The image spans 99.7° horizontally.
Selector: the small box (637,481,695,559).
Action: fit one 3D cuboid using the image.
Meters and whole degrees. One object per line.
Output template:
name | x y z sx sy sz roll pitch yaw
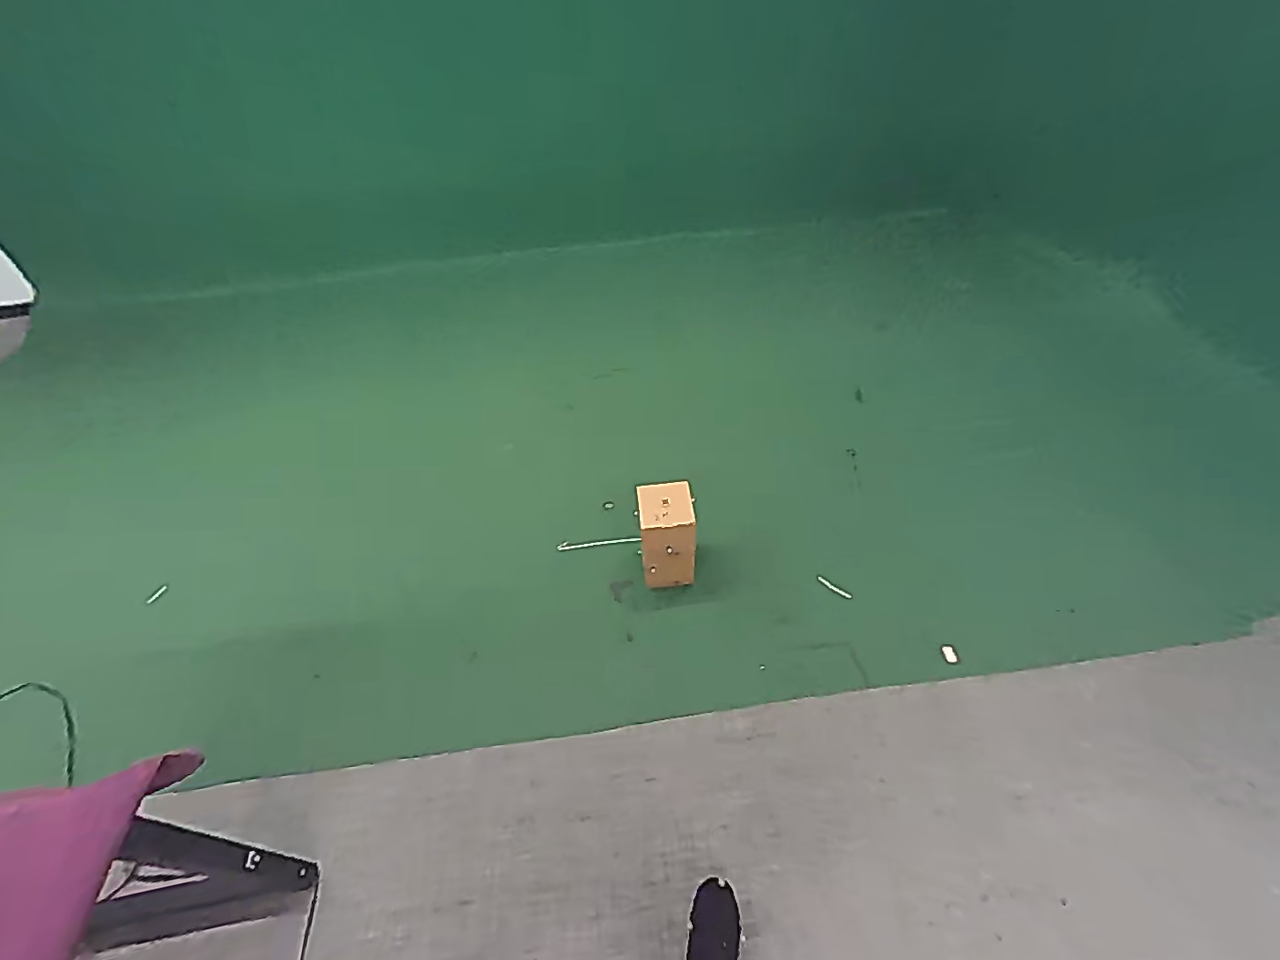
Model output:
small box | 0.080 0.127 1.716 0.168 0.176 0.179 -6 48 -1
